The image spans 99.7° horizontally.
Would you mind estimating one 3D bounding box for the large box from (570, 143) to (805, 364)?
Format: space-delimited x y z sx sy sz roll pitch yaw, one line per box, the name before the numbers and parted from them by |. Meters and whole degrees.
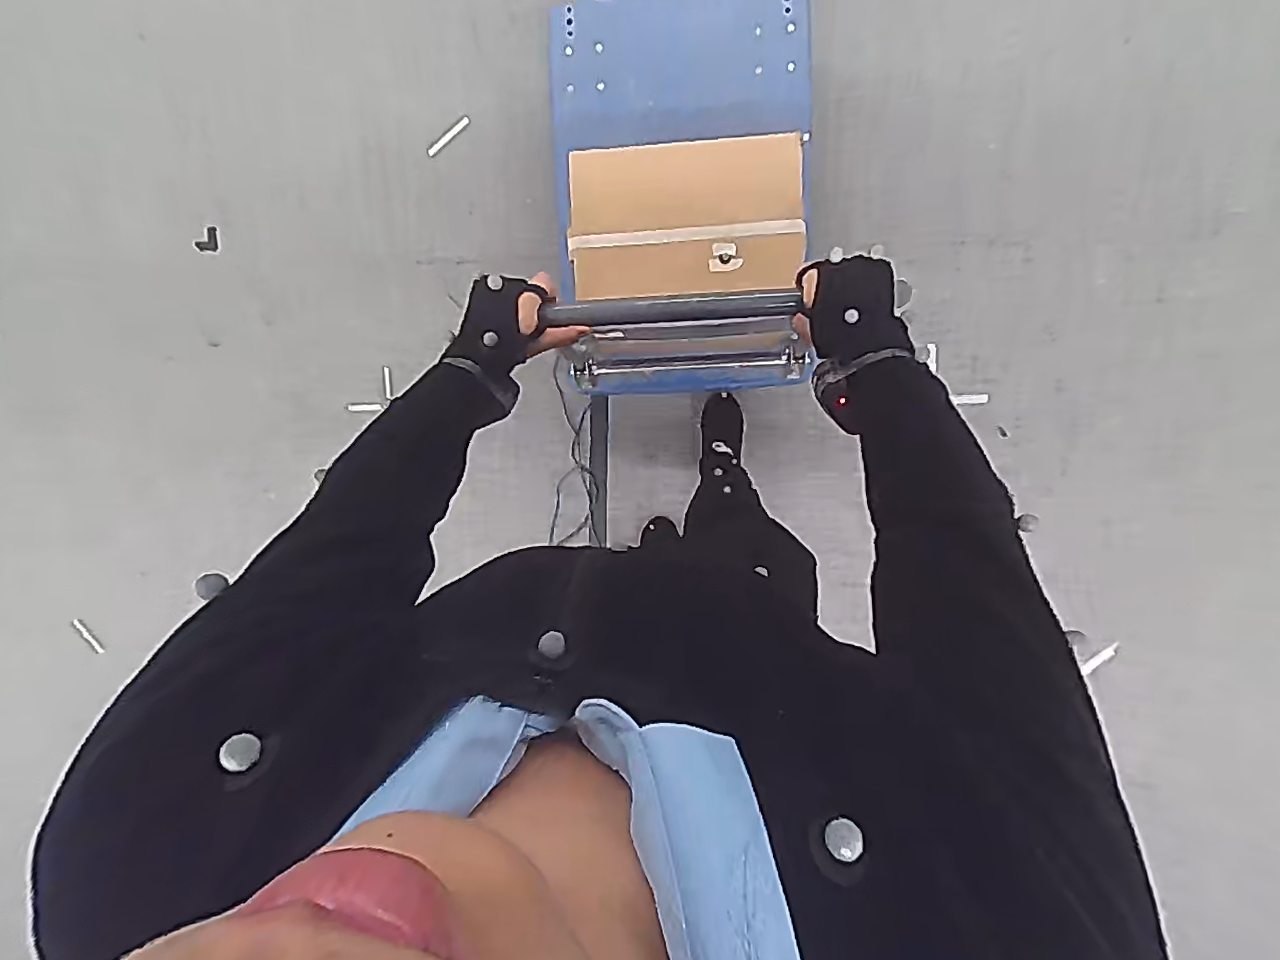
large box | 0.091 -0.420 1.088 0.408 0.320 0.320 -2 95 4
